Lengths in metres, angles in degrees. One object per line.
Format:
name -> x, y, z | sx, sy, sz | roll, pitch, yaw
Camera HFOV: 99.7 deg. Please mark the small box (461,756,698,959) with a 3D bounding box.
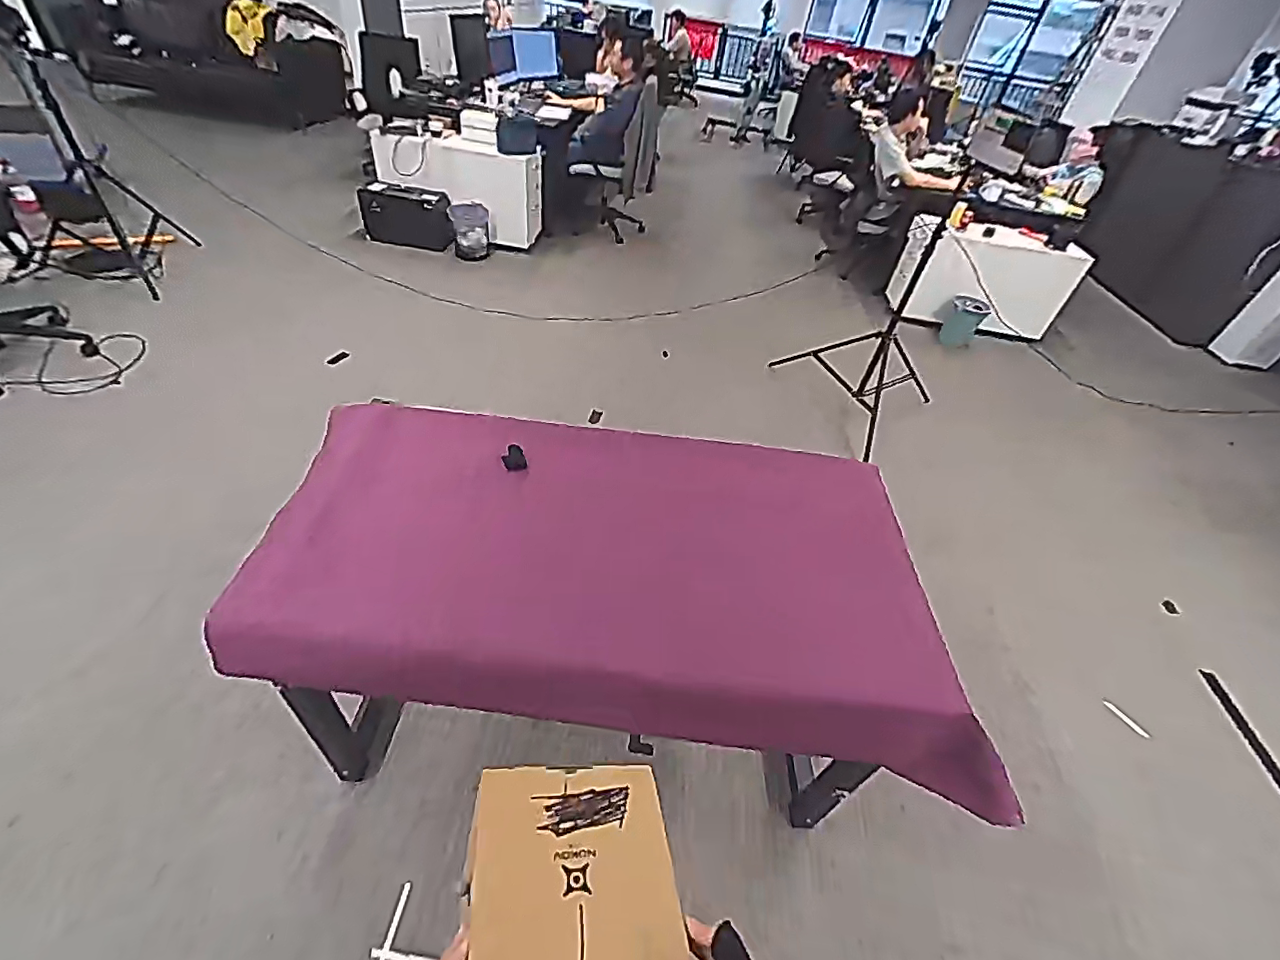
small box -> -0.068, 0.379, 0.481 | 0.168, 0.176, 0.179 | 6, 28, -16
